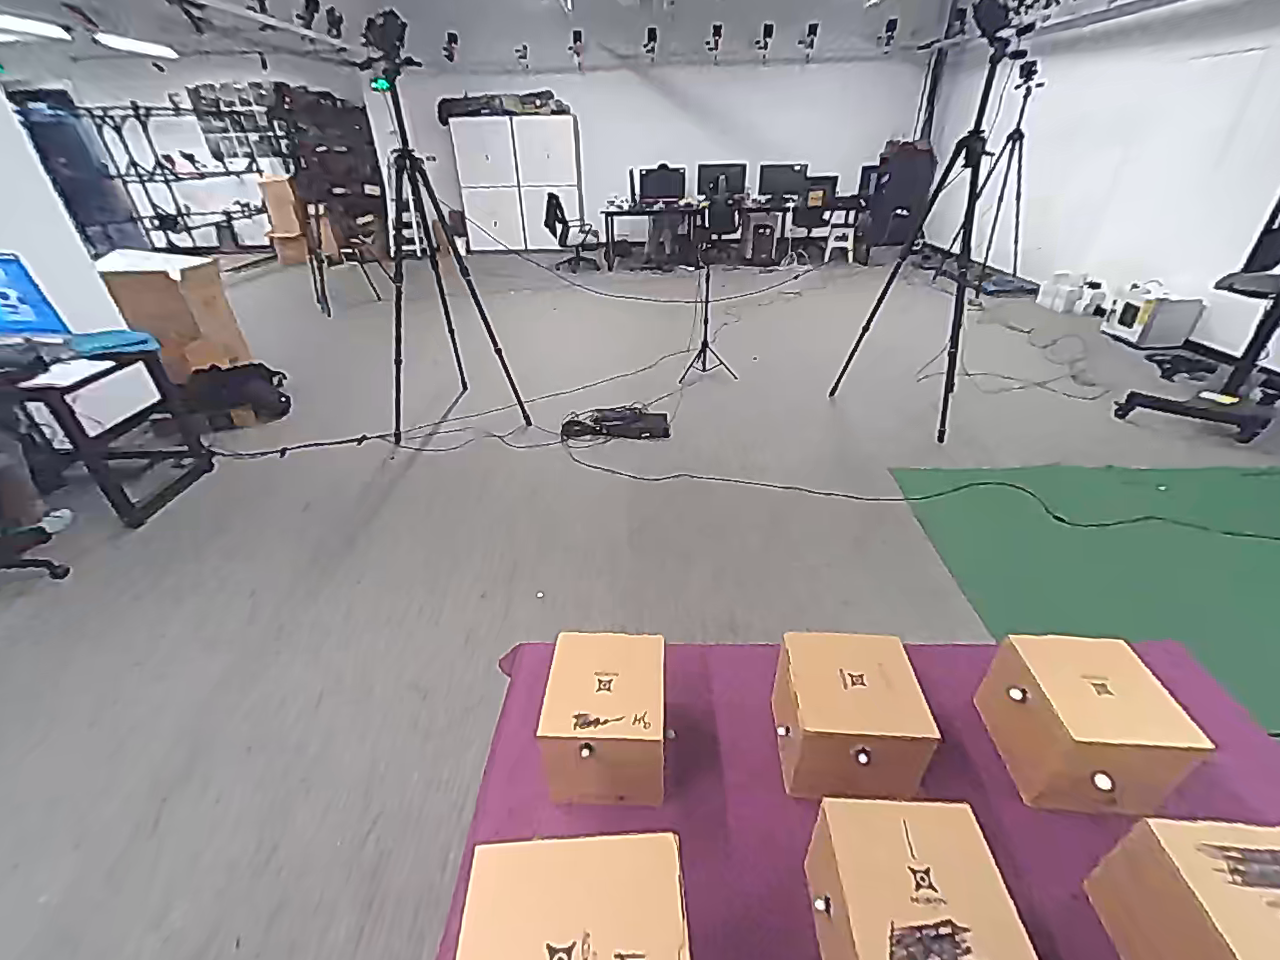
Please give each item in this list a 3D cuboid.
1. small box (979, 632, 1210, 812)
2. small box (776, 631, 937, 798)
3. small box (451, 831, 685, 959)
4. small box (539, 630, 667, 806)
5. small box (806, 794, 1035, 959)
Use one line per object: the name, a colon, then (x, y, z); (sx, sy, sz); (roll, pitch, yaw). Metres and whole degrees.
small box: (0.628, 0.345, 0.778); (0.168, 0.176, 0.179); (1, 32, 5)
small box: (0.301, 0.345, 0.798); (0.179, 0.176, 0.168); (2, 33, 5)
small box: (-0.050, 0.415, 0.442); (0.179, 0.176, 0.168); (-3, 37, 0)
small box: (-0.045, 0.350, 0.808); (0.168, 0.176, 0.179); (0, 32, 3)
small box: (0.287, 0.477, 0.587); (0.168, 0.176, 0.179); (1, 31, 4)
